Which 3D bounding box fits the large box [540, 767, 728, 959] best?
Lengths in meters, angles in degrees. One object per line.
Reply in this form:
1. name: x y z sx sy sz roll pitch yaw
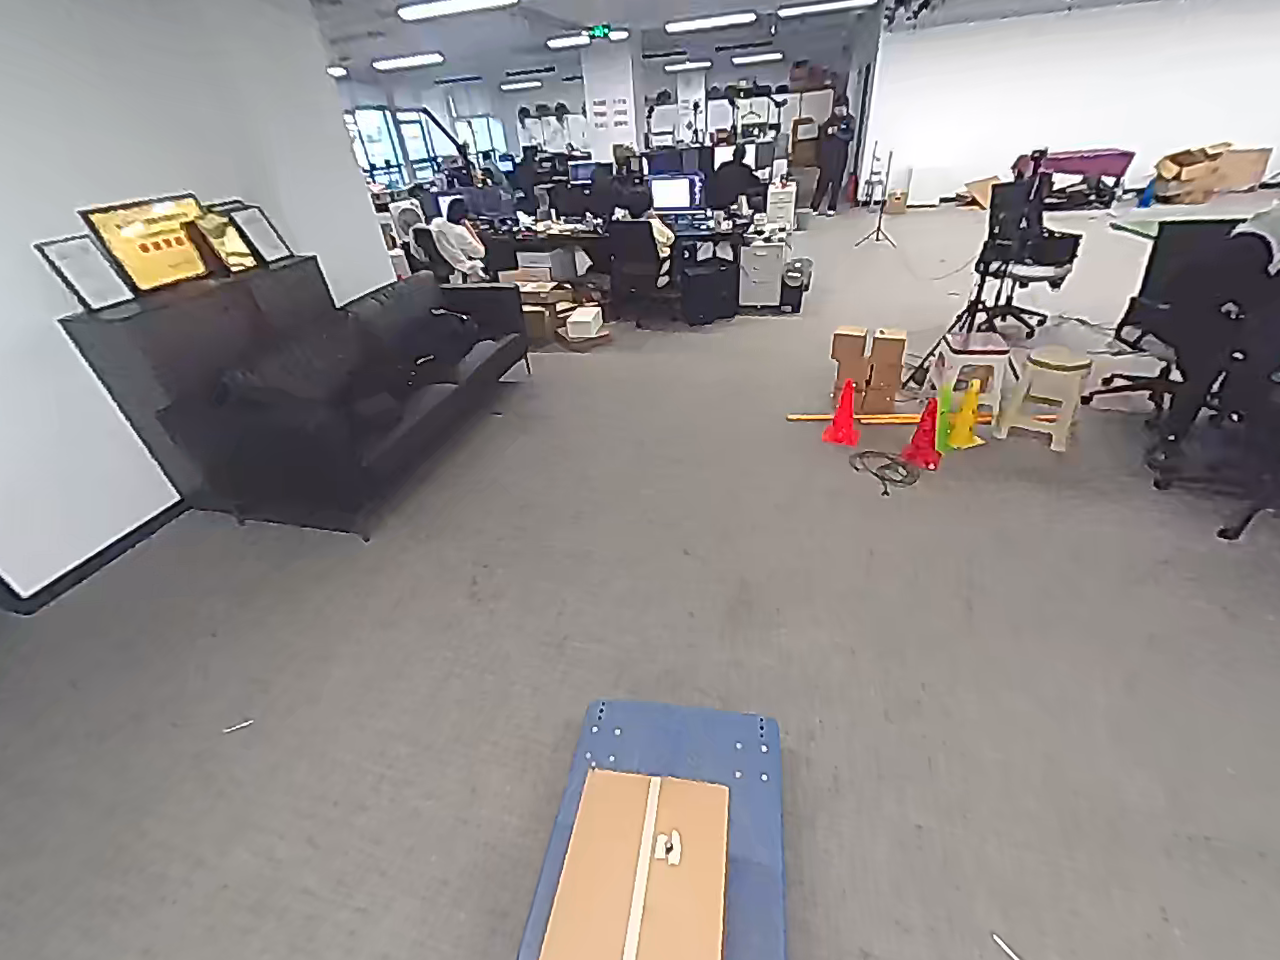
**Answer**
1. large box: 0.016 0.877 1.098 0.320 0.320 0.408 2 34 11
